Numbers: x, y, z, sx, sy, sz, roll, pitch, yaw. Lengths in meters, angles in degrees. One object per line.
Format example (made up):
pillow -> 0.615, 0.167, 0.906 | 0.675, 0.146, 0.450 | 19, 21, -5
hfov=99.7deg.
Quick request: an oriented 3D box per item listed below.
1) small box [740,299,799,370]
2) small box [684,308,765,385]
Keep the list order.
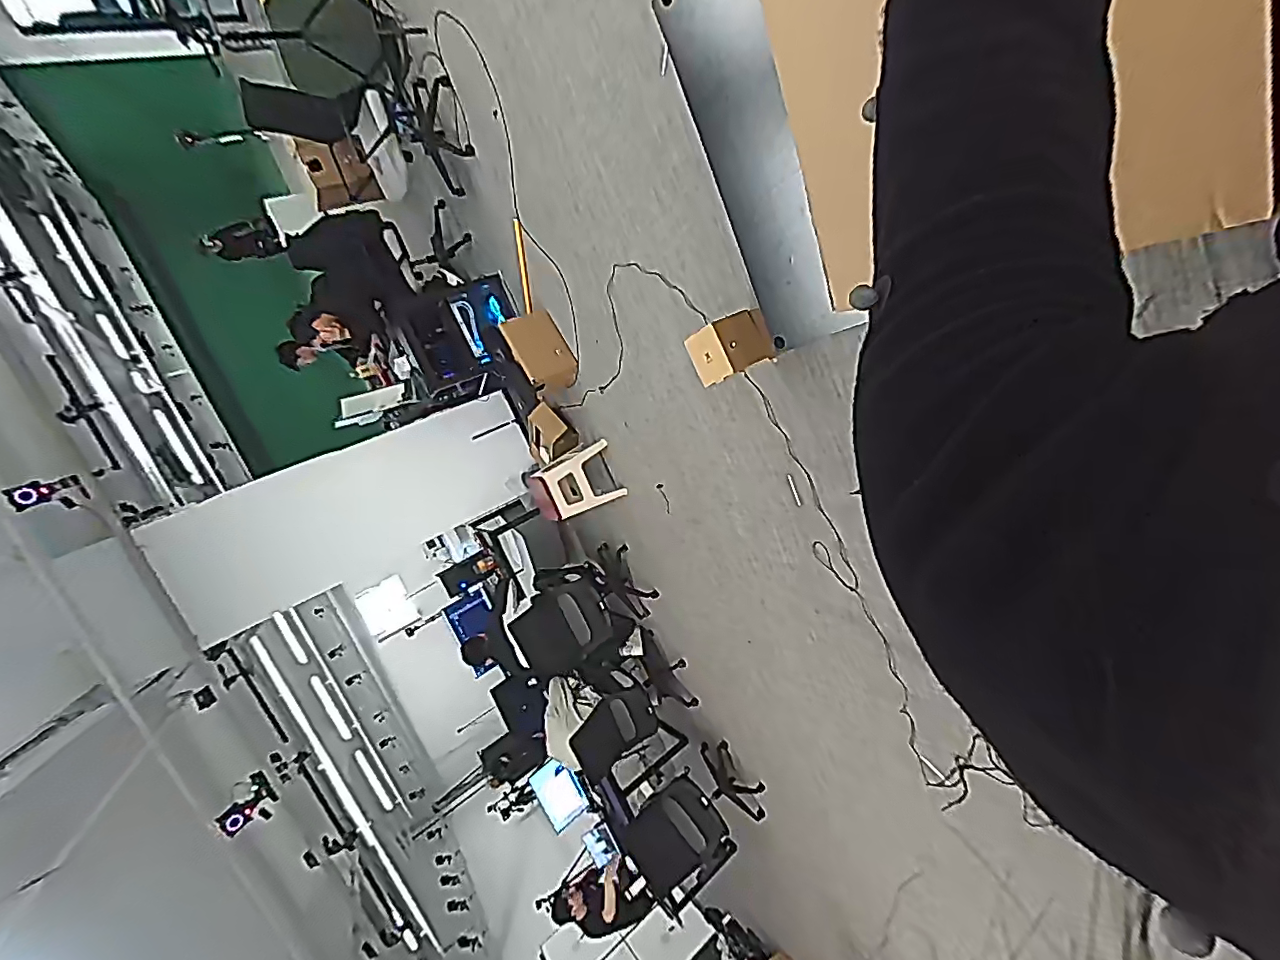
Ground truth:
small box -> 0.414, -0.505, 1.863 | 0.168, 0.176, 0.179 | -11, 106, 62
small box -> 0.284, -0.441, 1.789 | 0.168, 0.176, 0.179 | -18, 98, 61
